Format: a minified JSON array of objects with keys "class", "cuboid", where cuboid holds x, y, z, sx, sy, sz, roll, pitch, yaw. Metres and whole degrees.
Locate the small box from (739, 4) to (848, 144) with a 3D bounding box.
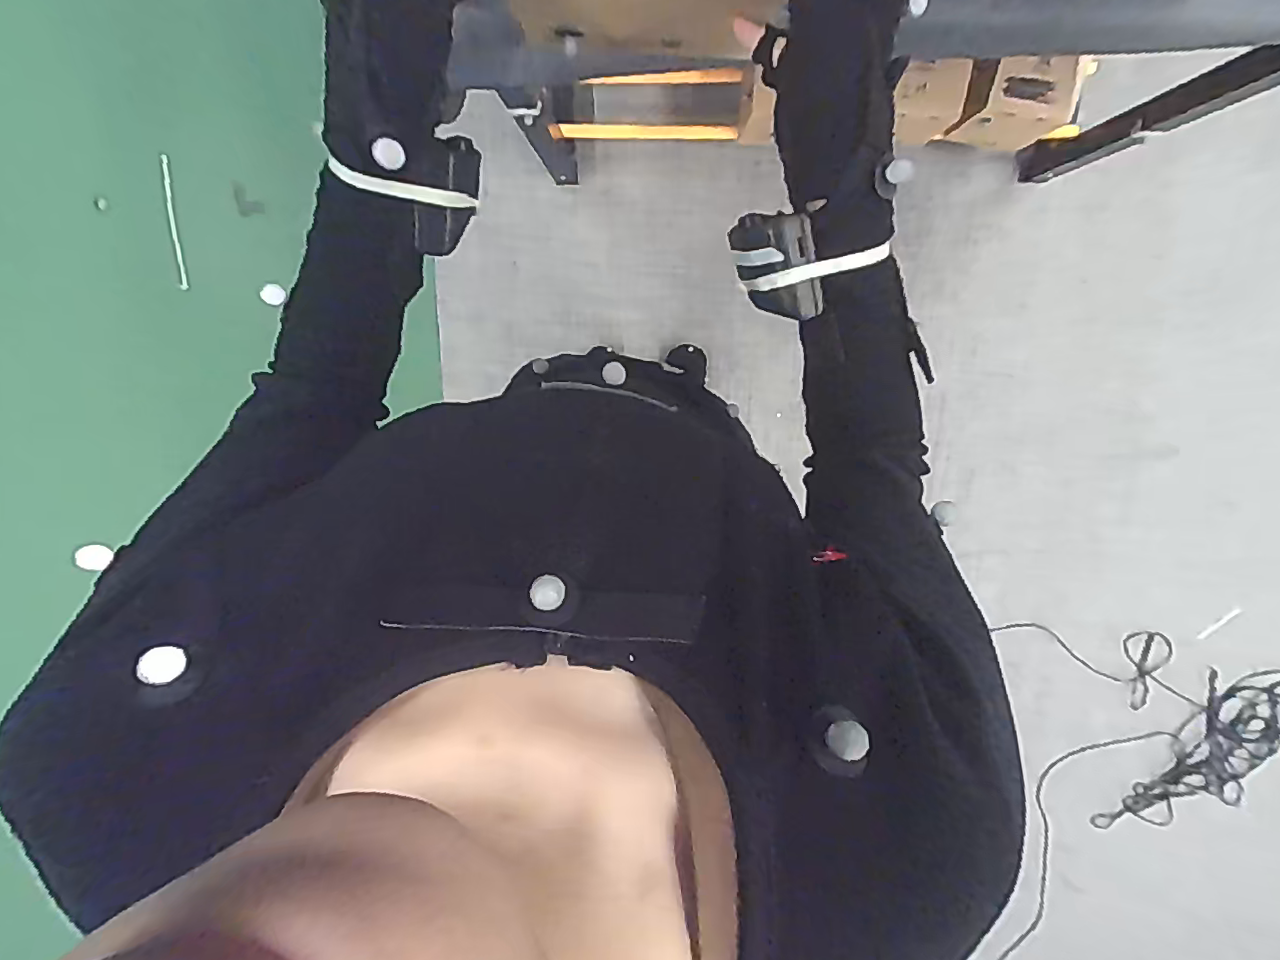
[{"class":"small box","cuboid":[0.297,-0.807,1.089,0.168,0.176,0.179,3,107,1]}]
